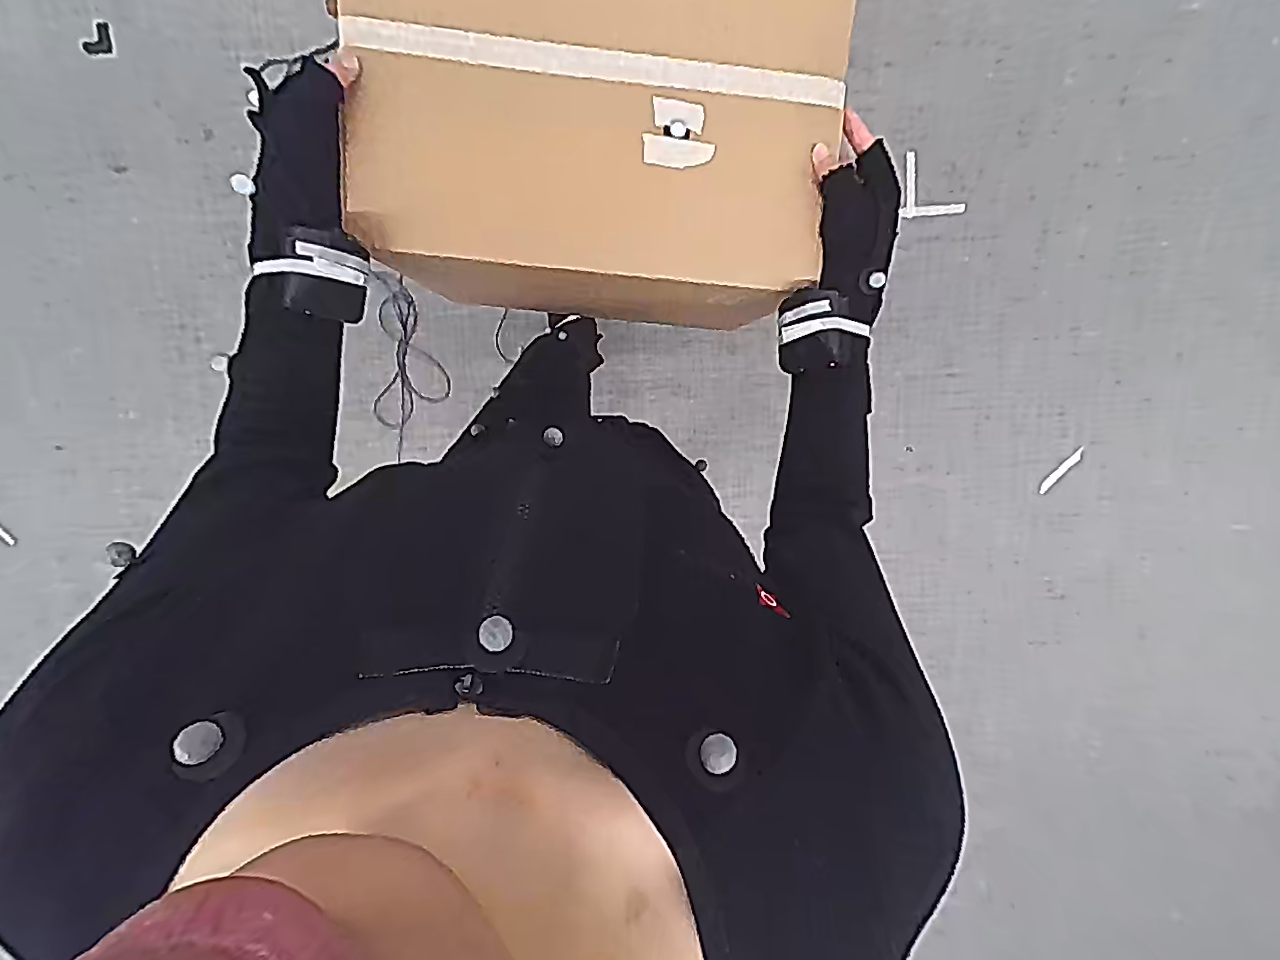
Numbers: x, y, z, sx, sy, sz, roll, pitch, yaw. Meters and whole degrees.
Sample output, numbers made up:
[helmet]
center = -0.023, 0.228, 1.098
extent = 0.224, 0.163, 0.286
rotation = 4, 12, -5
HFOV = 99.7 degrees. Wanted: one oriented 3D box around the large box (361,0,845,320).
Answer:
[large box]
center = -0.041, -0.367, 0.600
extent = 0.408, 0.320, 0.320
rotation = 4, 100, -5
